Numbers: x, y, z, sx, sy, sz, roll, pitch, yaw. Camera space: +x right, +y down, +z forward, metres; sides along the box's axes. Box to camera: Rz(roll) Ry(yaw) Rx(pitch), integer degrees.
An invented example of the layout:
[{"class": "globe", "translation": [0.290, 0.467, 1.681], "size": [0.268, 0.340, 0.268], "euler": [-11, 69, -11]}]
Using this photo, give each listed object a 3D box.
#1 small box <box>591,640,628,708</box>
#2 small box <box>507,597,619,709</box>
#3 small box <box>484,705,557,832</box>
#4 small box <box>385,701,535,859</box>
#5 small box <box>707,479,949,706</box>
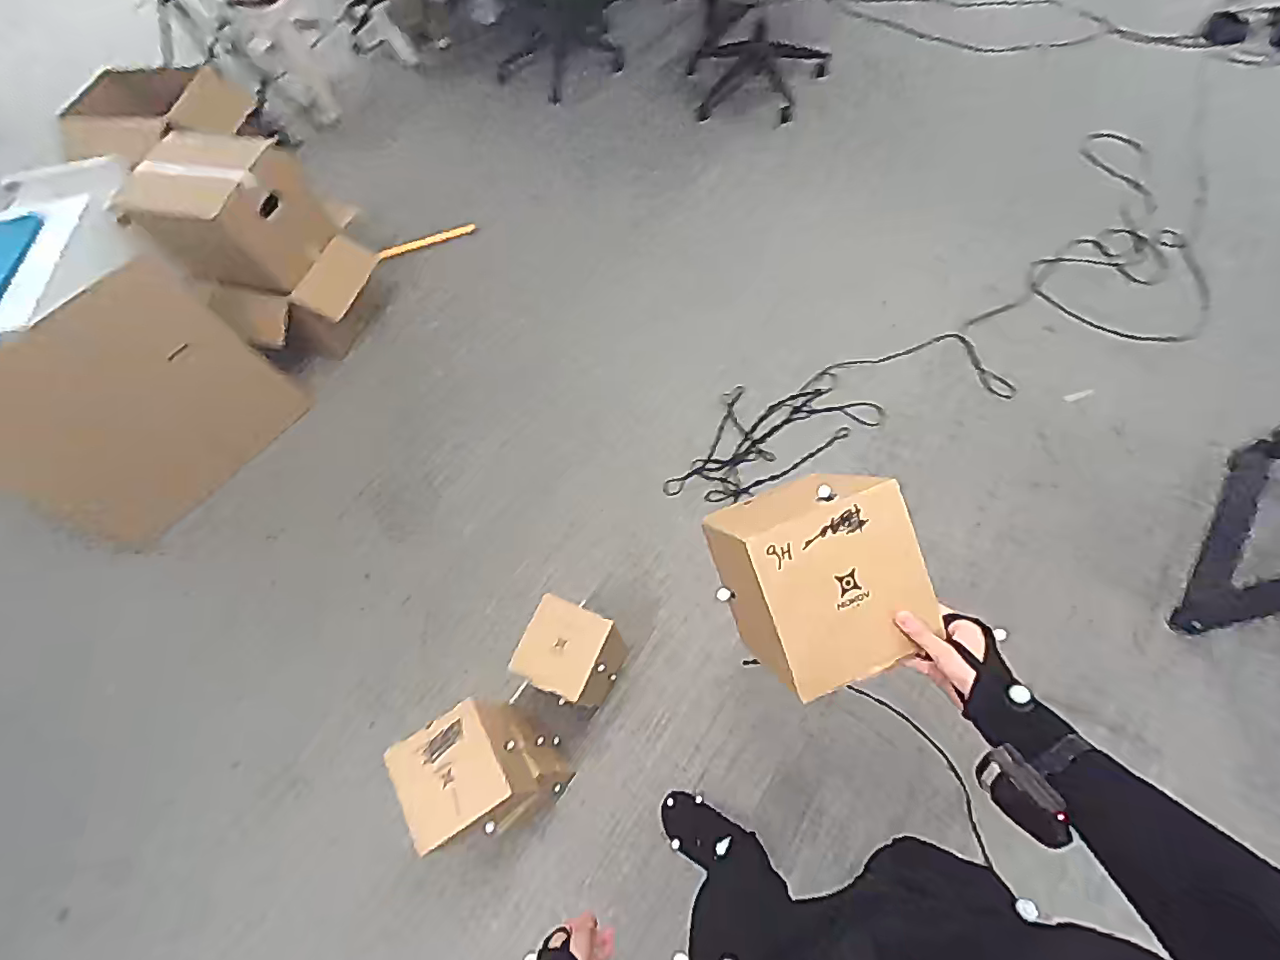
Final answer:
[{"class": "small box", "translation": [-0.145, 0.447, 1.335], "size": [0.179, 0.176, 0.168], "euler": [23, 68, 18]}, {"class": "small box", "translation": [-0.157, 0.385, 1.185], "size": [0.168, 0.176, 0.179], "euler": [20, 67, 15]}, {"class": "small box", "translation": [-0.296, 0.590, 1.100], "size": [0.179, 0.176, 0.168], "euler": [-35, 64, -12]}, {"class": "small box", "translation": [-0.309, 0.520, 0.952], "size": [0.168, 0.176, 0.179], "euler": [-31, 64, -9]}, {"class": "small box", "translation": [0.192, 0.106, 0.596], "size": [0.168, 0.176, 0.179], "euler": [-20, 95, -7]}]
